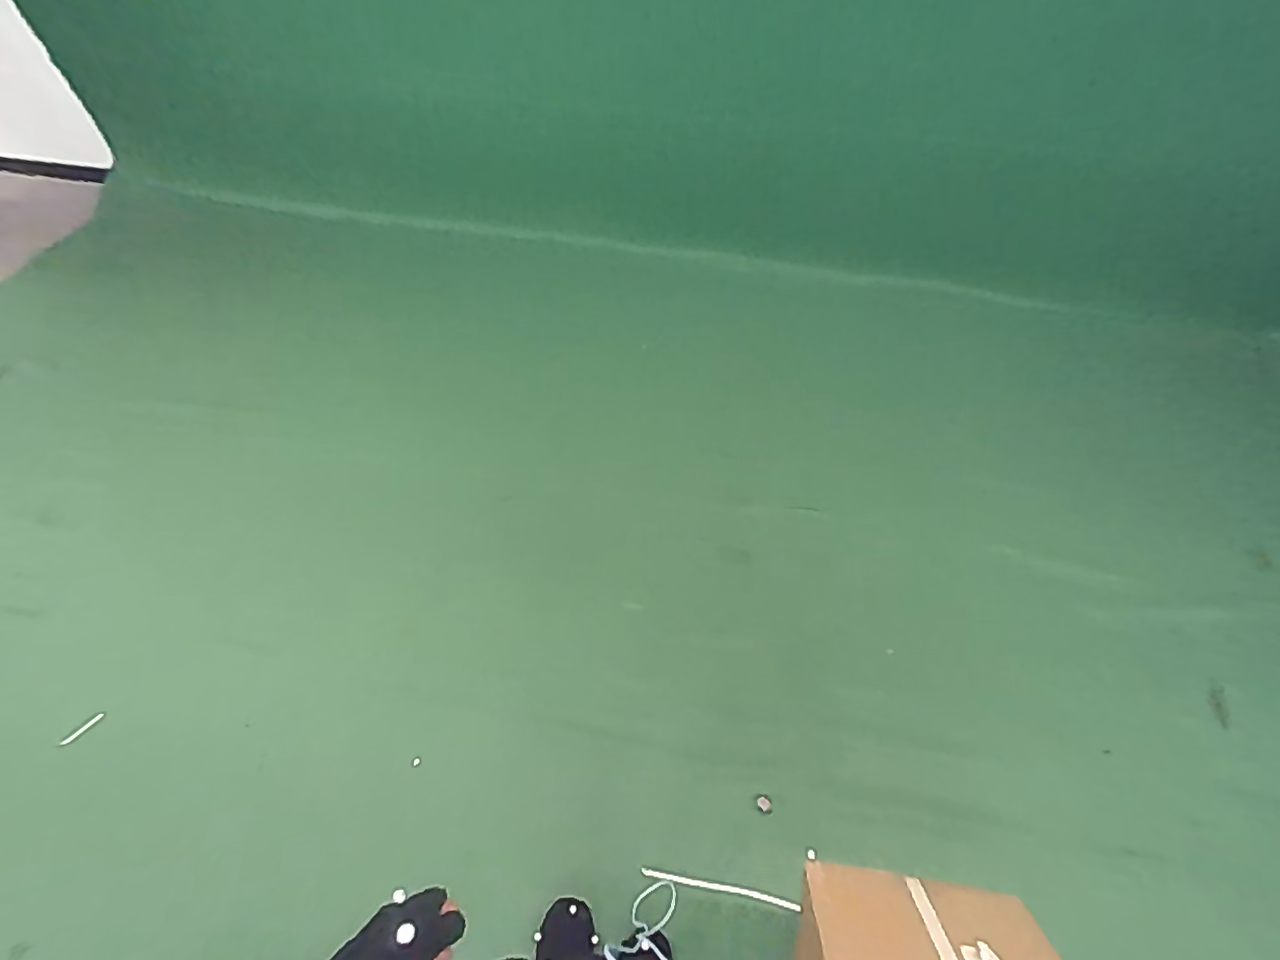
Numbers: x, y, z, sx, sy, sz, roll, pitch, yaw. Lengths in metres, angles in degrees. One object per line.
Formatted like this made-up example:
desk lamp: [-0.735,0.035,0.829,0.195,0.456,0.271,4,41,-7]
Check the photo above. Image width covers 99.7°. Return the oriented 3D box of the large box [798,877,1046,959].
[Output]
large box: [0.371,0.785,0.634,0.320,0.408,0.320,6,93,7]
